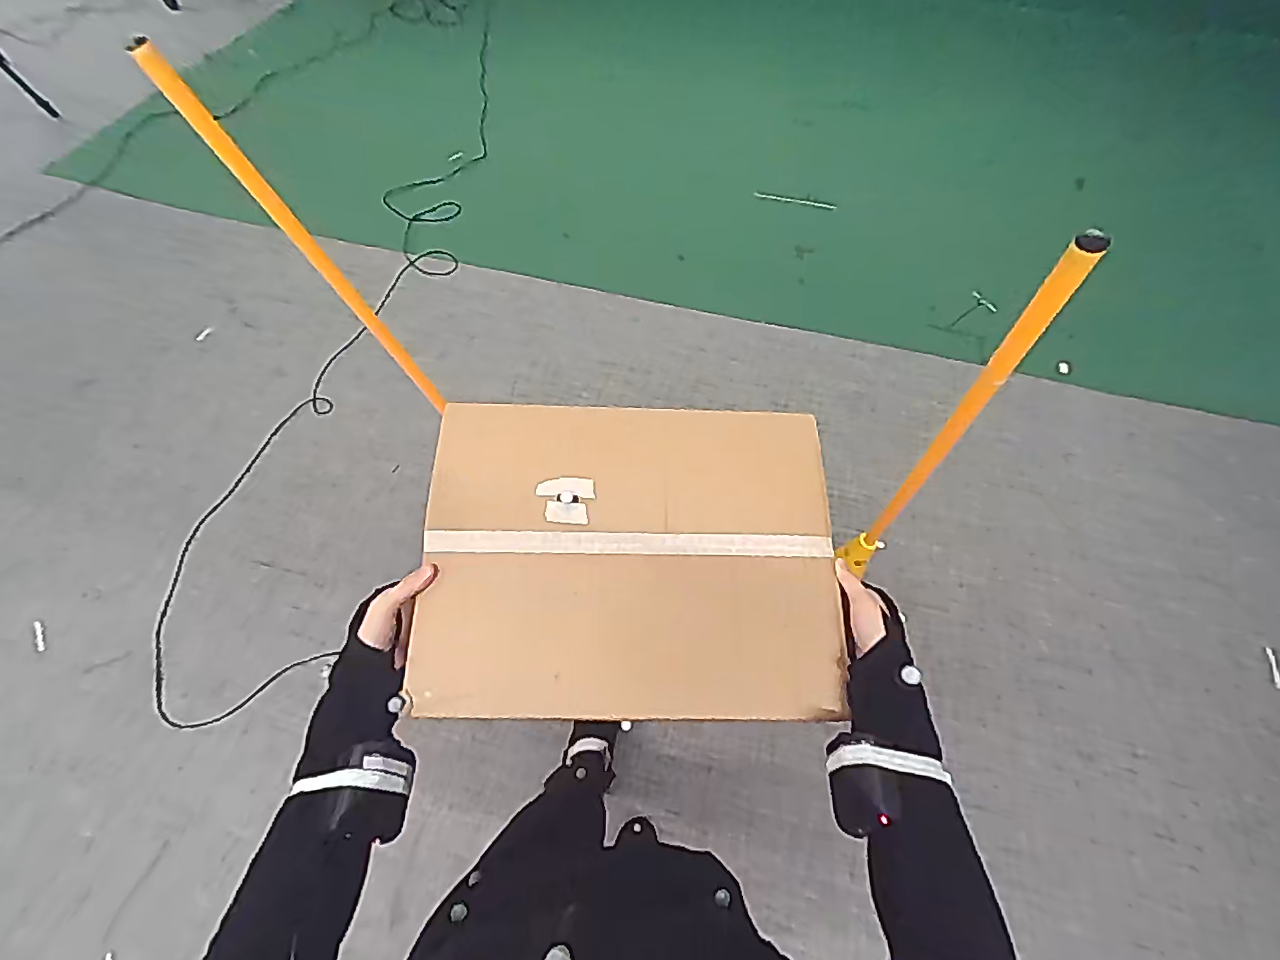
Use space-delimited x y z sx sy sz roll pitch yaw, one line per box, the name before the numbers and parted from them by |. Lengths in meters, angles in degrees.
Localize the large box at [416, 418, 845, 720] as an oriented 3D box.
large box | -0.010 0.129 0.688 0.408 0.320 0.320 1 67 -1
